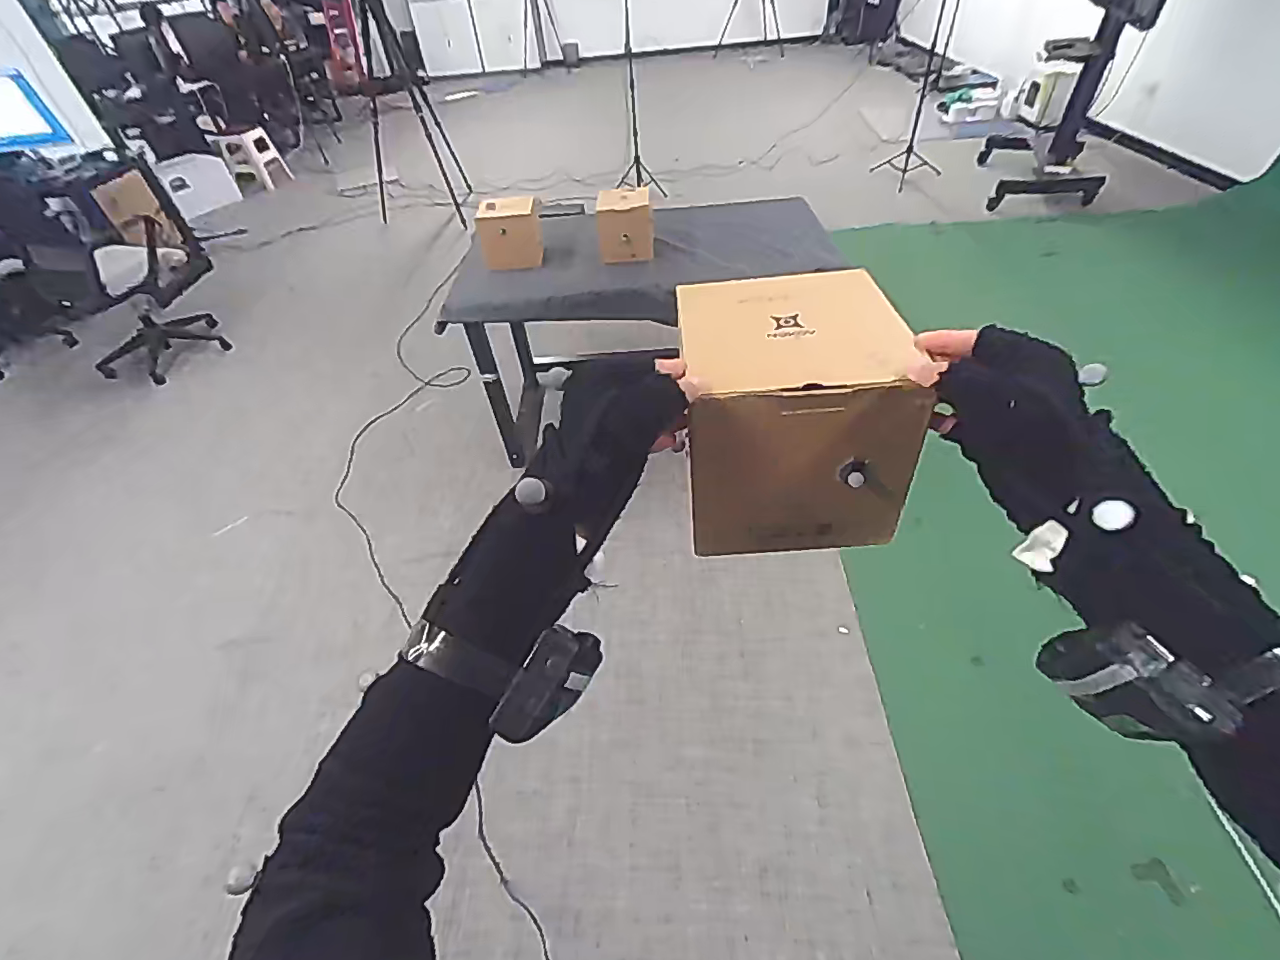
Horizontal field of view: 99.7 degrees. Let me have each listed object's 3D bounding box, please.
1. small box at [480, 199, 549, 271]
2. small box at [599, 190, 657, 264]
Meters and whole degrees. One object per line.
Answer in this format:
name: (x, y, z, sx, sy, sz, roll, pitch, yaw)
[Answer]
small box: (-0.402, -0.794, 1.758, 0.179, 0.176, 0.168, -4, 46, 0)
small box: (-0.033, -0.806, 1.734, 0.168, 0.176, 0.179, -2, 46, 4)
